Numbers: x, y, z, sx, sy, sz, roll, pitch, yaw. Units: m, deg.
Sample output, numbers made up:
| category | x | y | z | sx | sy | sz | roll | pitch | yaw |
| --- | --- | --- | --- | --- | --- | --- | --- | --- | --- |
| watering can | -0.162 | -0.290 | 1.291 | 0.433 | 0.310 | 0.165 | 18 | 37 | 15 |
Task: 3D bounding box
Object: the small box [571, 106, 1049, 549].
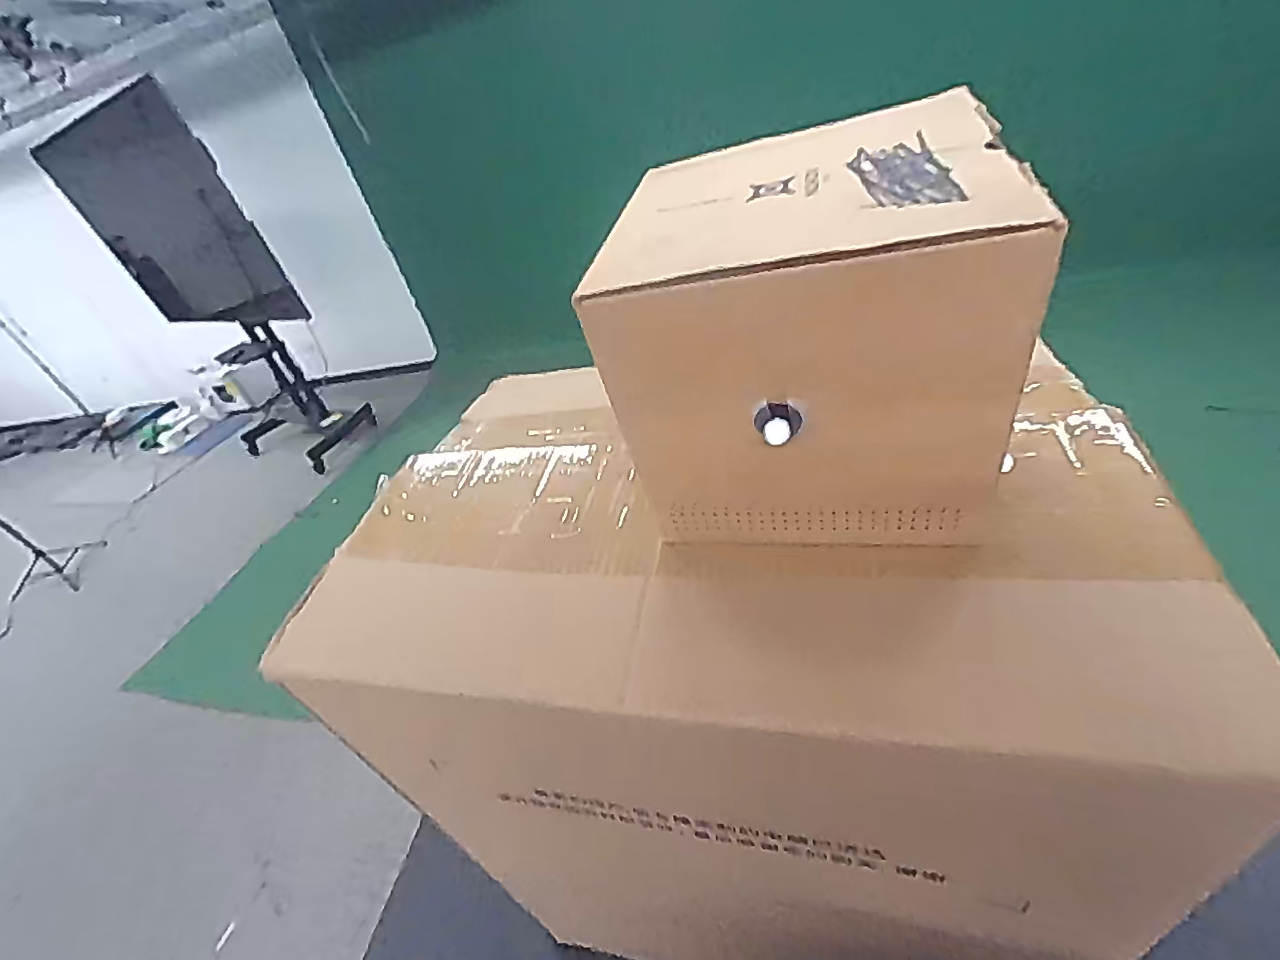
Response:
| category | x | y | z | sx | sy | sz | roll | pitch | yaw |
| --- | --- | --- | --- | --- | --- | --- | --- | --- | --- |
| small box | 0.090 | -0.074 | 0.307 | 0.179 | 0.176 | 0.168 | -2 | 45 | 21 |
